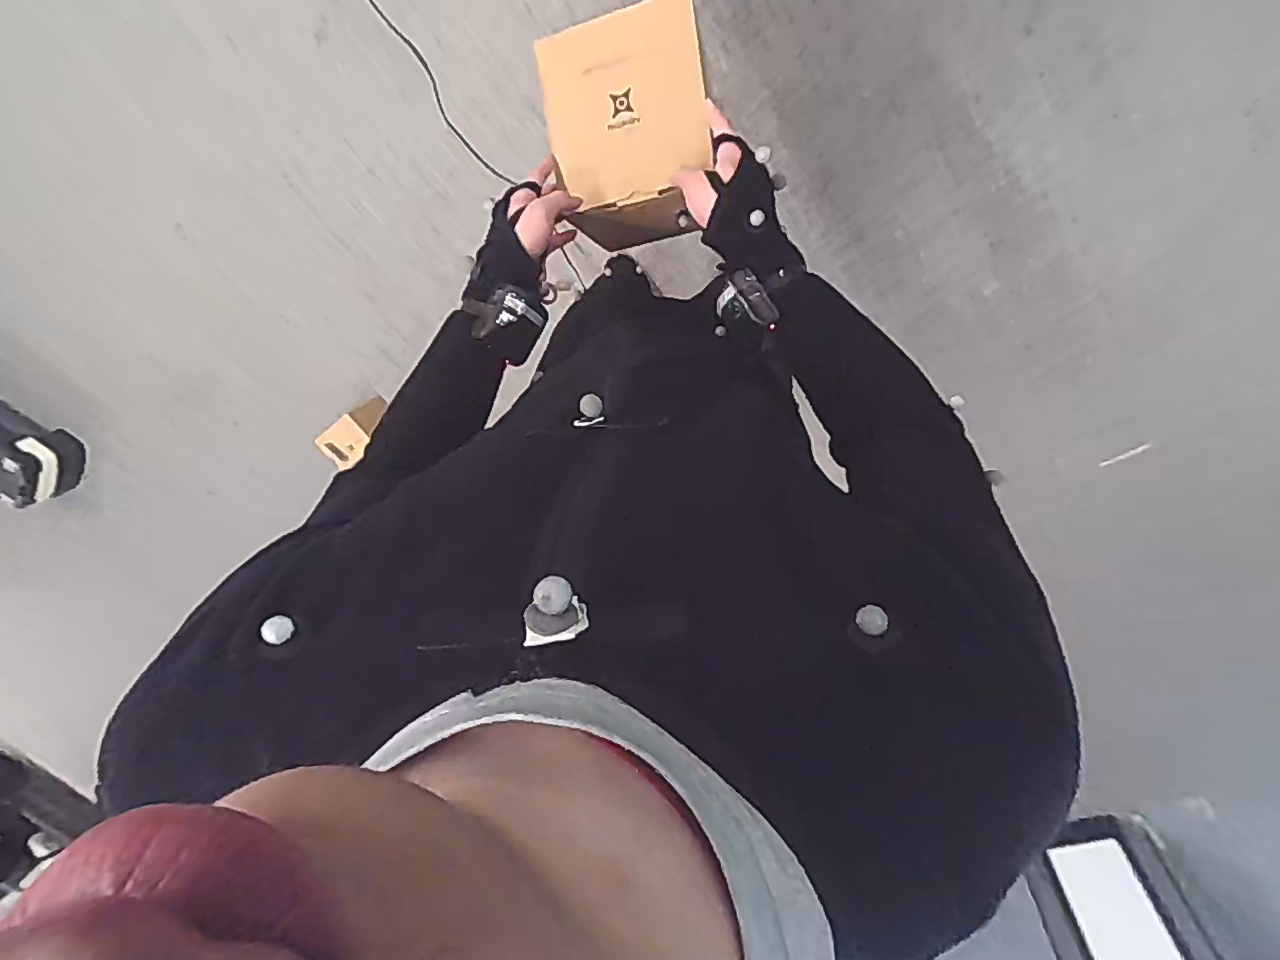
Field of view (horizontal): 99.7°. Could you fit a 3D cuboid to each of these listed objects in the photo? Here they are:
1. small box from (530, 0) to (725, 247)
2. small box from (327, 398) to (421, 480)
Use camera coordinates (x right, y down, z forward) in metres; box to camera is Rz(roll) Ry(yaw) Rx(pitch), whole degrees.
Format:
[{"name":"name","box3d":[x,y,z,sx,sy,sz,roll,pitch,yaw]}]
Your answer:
[{"name":"small box","box3d":[-0.002,-0.382,0.615,0.168,0.176,0.179,-8,97,16]},{"name":"small box","box3d":[-0.840,-0.133,1.725,0.179,0.176,0.168,-29,108,25]}]
